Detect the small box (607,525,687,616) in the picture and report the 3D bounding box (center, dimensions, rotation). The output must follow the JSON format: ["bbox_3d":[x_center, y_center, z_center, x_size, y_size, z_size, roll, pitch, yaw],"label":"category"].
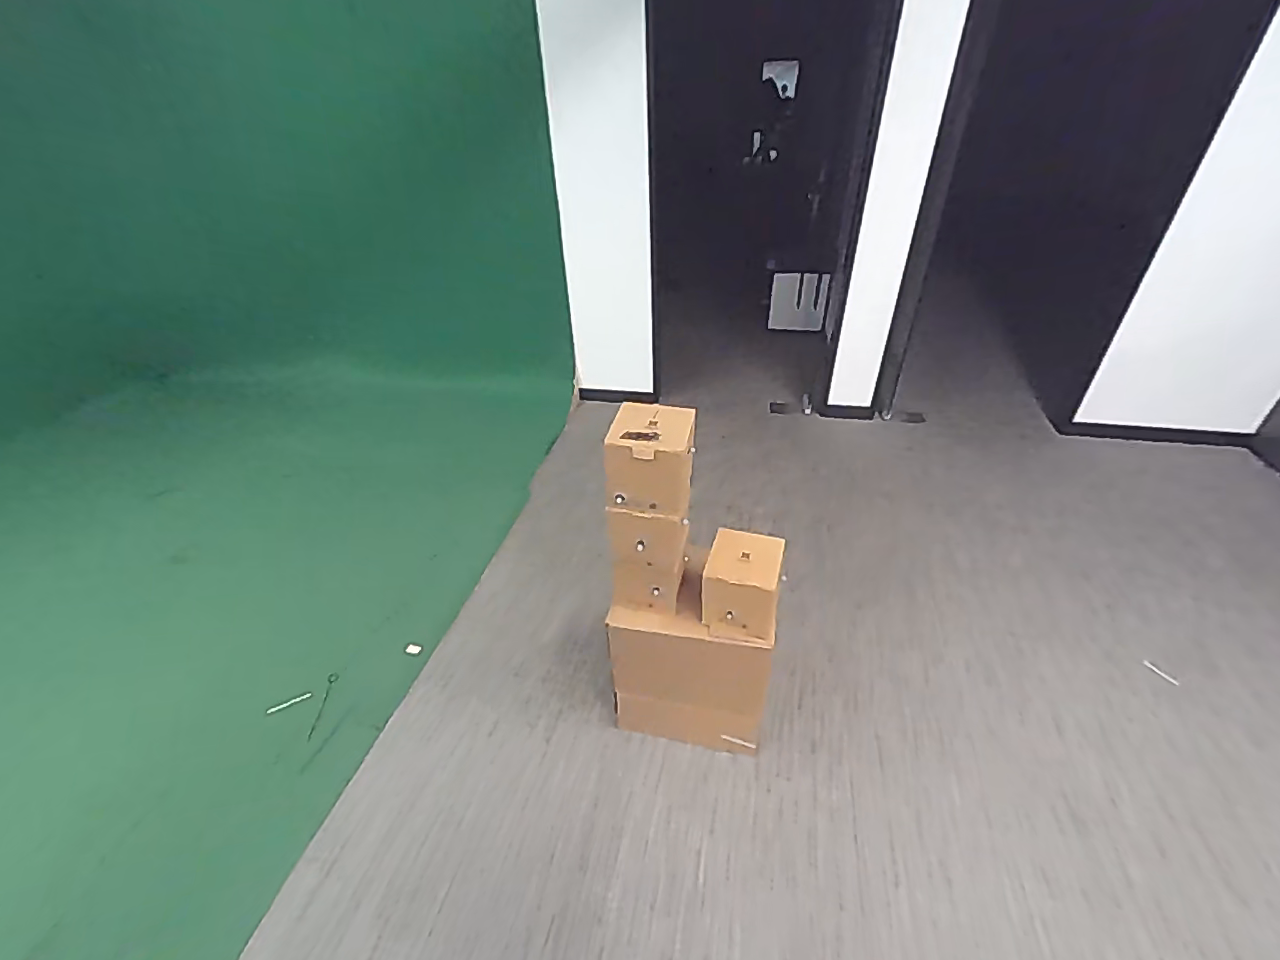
[{"bbox_3d":[0.022,0.219,1.373,0.168,0.176,0.179,8,37,11],"label":"small box"}]

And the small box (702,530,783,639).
[{"bbox_3d":[0.247,0.251,1.313,0.168,0.176,0.179,8,38,17],"label":"small box"}]

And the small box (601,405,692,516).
[{"bbox_3d":[0.019,-0.042,1.174,0.168,0.176,0.179,7,36,9],"label":"small box"}]

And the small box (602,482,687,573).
[{"bbox_3d":[0.016,0.094,1.267,0.168,0.176,0.179,8,38,9],"label":"small box"}]
